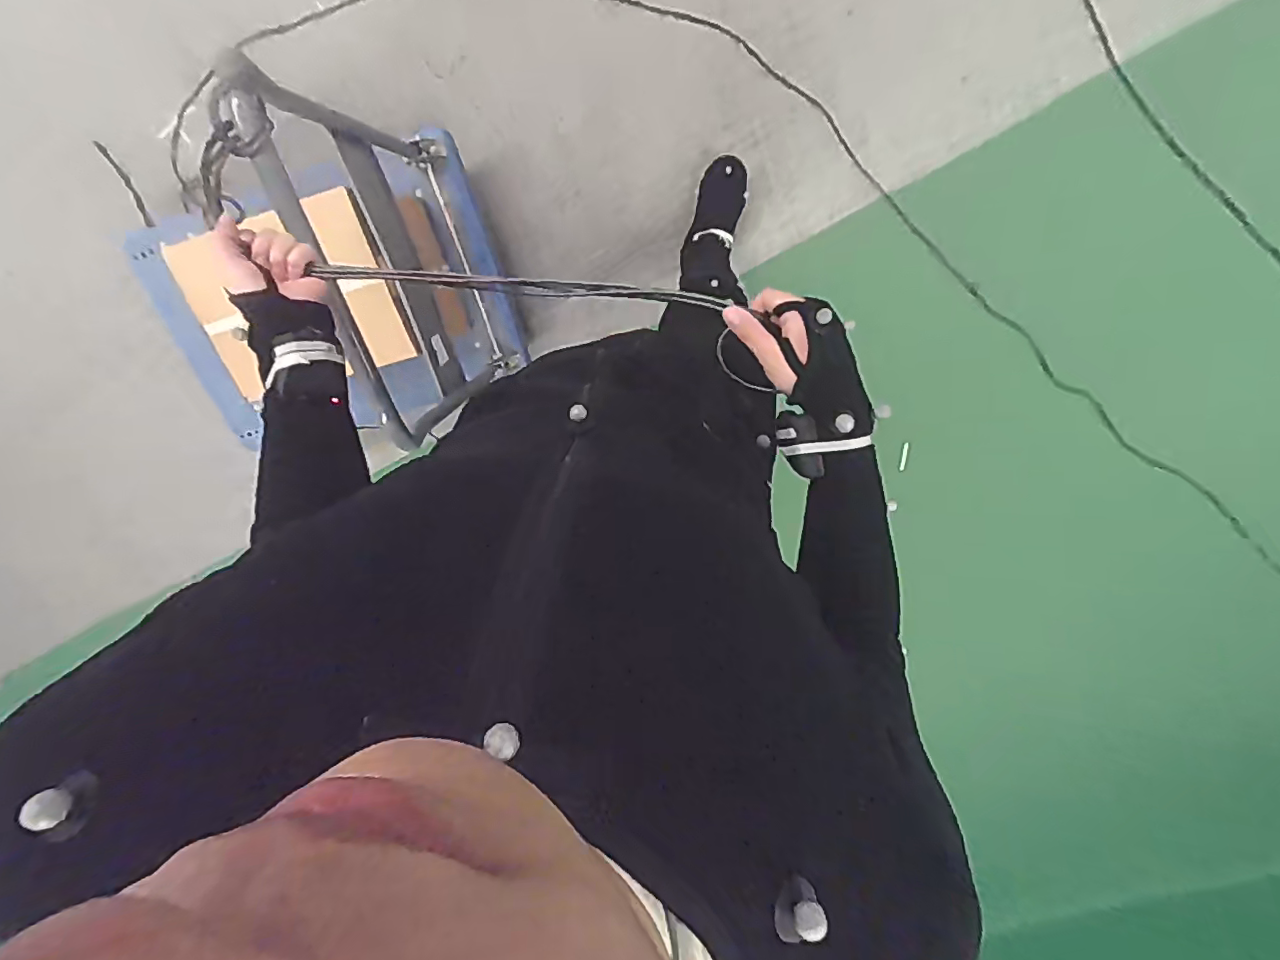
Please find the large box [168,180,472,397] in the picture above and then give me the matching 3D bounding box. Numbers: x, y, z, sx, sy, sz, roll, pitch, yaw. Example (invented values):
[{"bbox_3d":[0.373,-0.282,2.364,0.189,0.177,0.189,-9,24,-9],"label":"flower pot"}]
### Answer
[{"bbox_3d":[-0.649,-0.413,1.172,0.408,0.320,0.320,-12,112,10],"label":"large box"}]
